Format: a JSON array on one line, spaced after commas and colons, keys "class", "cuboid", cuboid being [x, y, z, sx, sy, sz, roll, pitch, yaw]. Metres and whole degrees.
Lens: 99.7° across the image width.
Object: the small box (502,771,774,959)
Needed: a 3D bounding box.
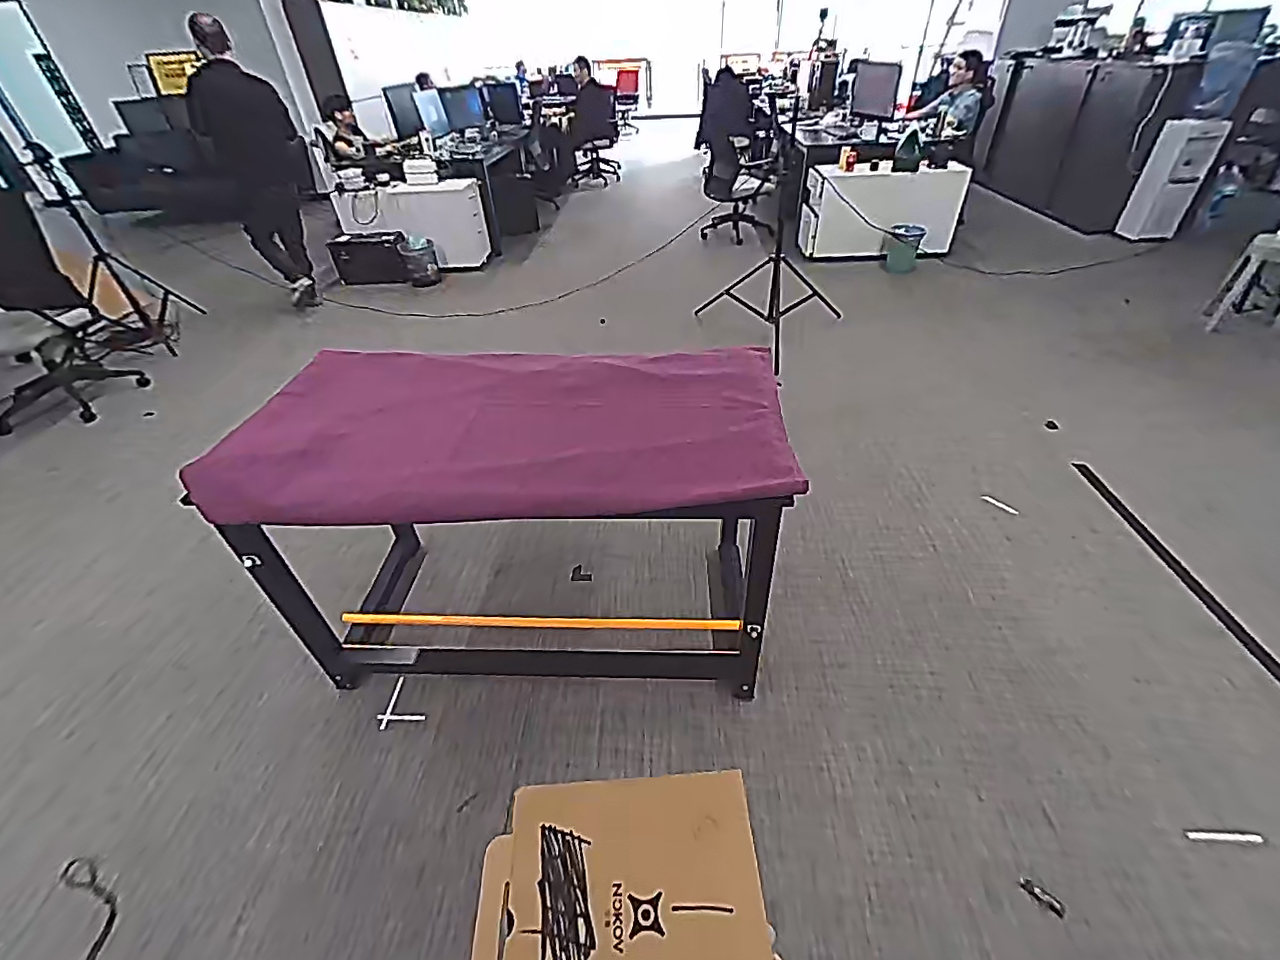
[{"class": "small box", "cuboid": [0.002, 0.345, 0.415, 0.179, 0.176, 0.168, -4, 45, 0]}]
